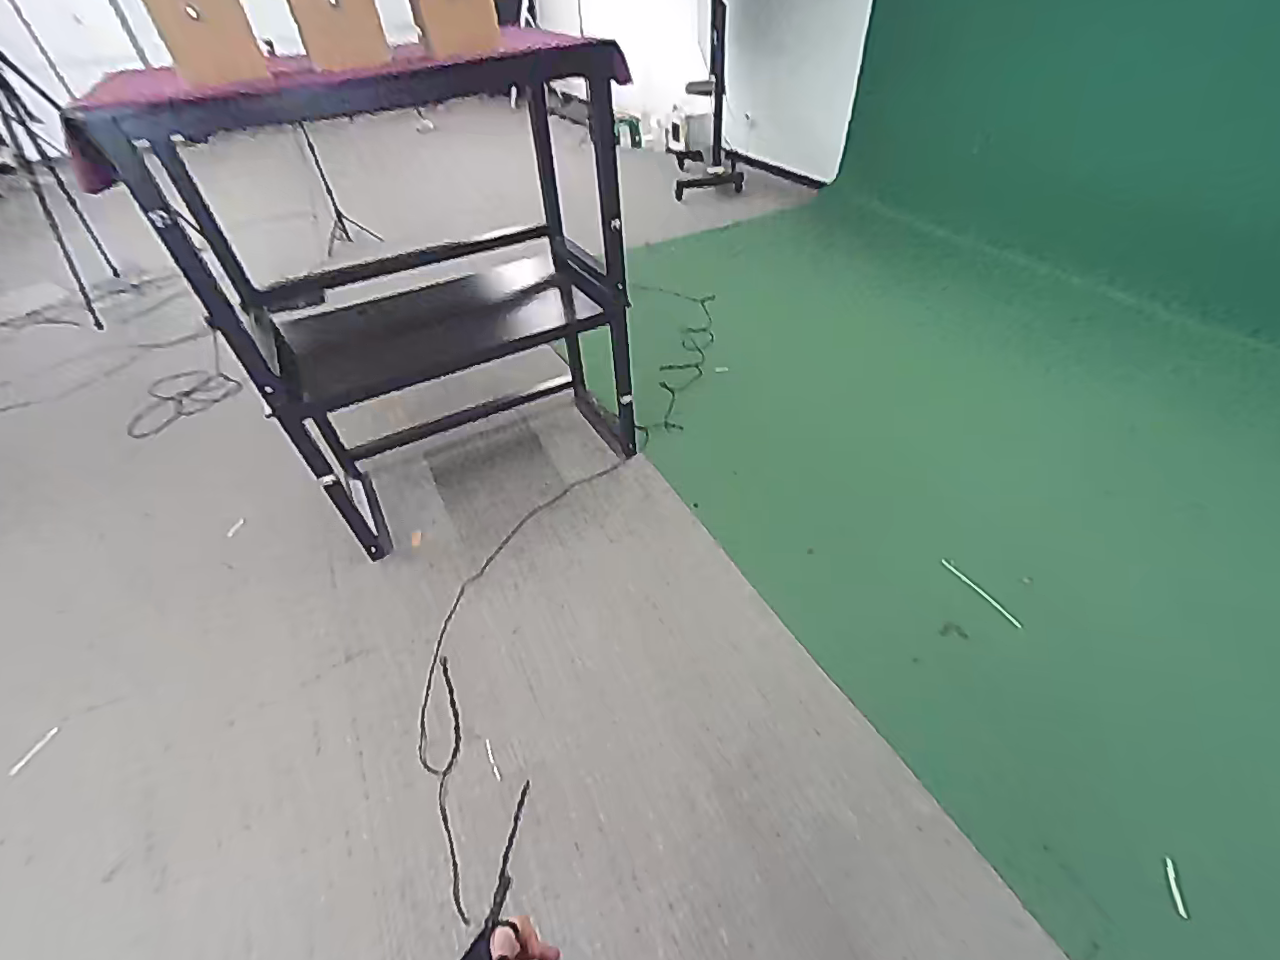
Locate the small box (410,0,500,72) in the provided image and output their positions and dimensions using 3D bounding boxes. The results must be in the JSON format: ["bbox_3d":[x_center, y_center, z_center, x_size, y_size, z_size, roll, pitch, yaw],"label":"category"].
[{"bbox_3d":[-0.469,-1.164,1.377,0.179,0.176,0.168,-24,47,-17],"label":"small box"}]

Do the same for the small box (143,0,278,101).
[{"bbox_3d":[-0.948,-0.964,1.205,0.179,0.176,0.168,-25,48,-20],"label":"small box"}]

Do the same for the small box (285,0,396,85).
[{"bbox_3d":[-0.710,-1.058,1.286,0.179,0.176,0.168,-23,47,-19],"label":"small box"}]
